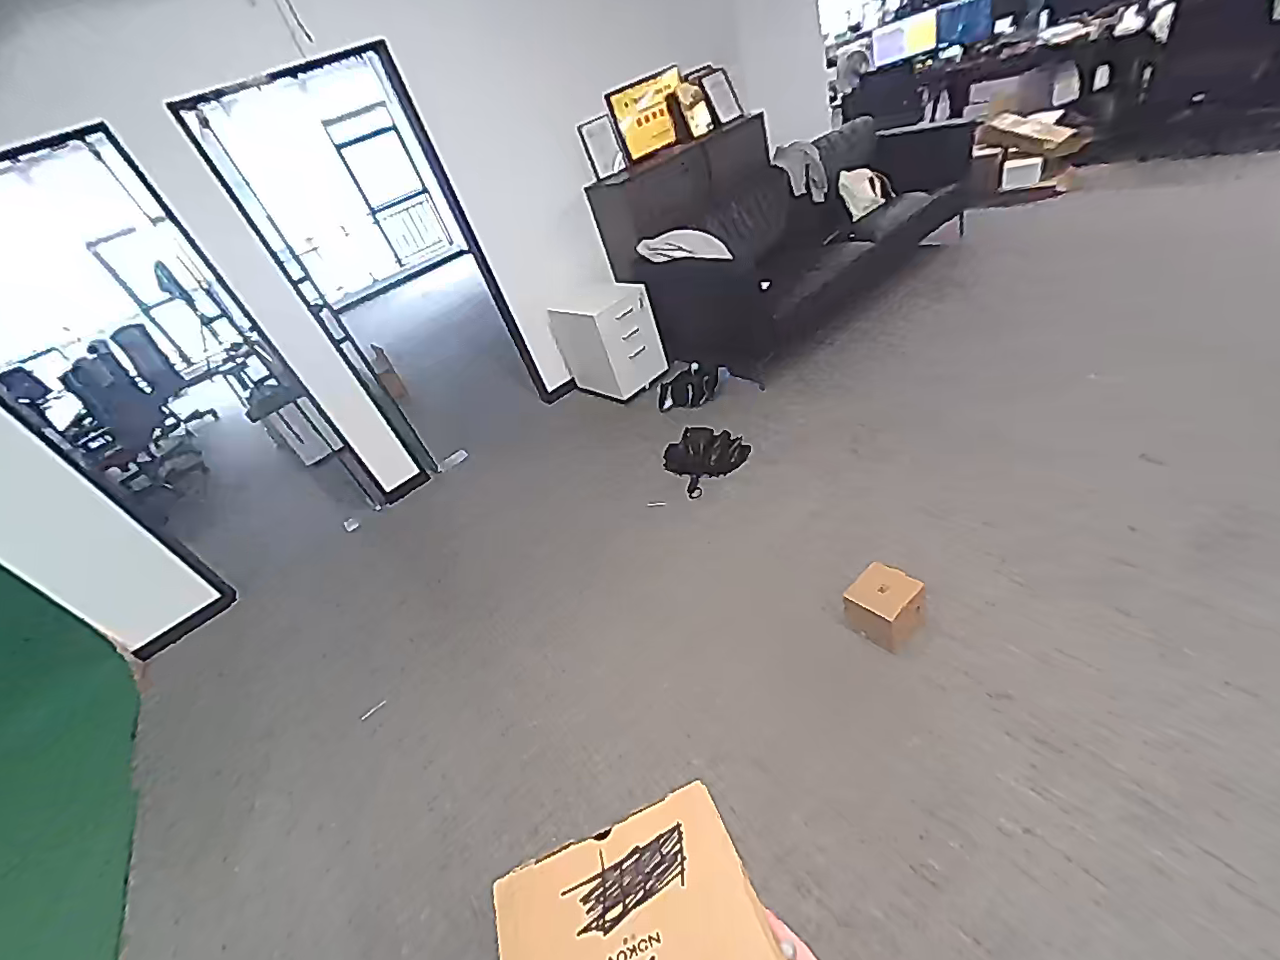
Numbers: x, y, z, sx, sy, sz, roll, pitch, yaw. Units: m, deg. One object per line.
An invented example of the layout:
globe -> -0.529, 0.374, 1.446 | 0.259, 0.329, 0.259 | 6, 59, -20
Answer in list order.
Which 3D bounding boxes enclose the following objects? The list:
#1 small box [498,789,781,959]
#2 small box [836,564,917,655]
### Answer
small box -> 0.015, 0.367, 0.371 | 0.168, 0.176, 0.179 | -20, 33, -10
small box -> 0.736, 0.400, 1.679 | 0.179, 0.176, 0.168 | -38, 38, -21
